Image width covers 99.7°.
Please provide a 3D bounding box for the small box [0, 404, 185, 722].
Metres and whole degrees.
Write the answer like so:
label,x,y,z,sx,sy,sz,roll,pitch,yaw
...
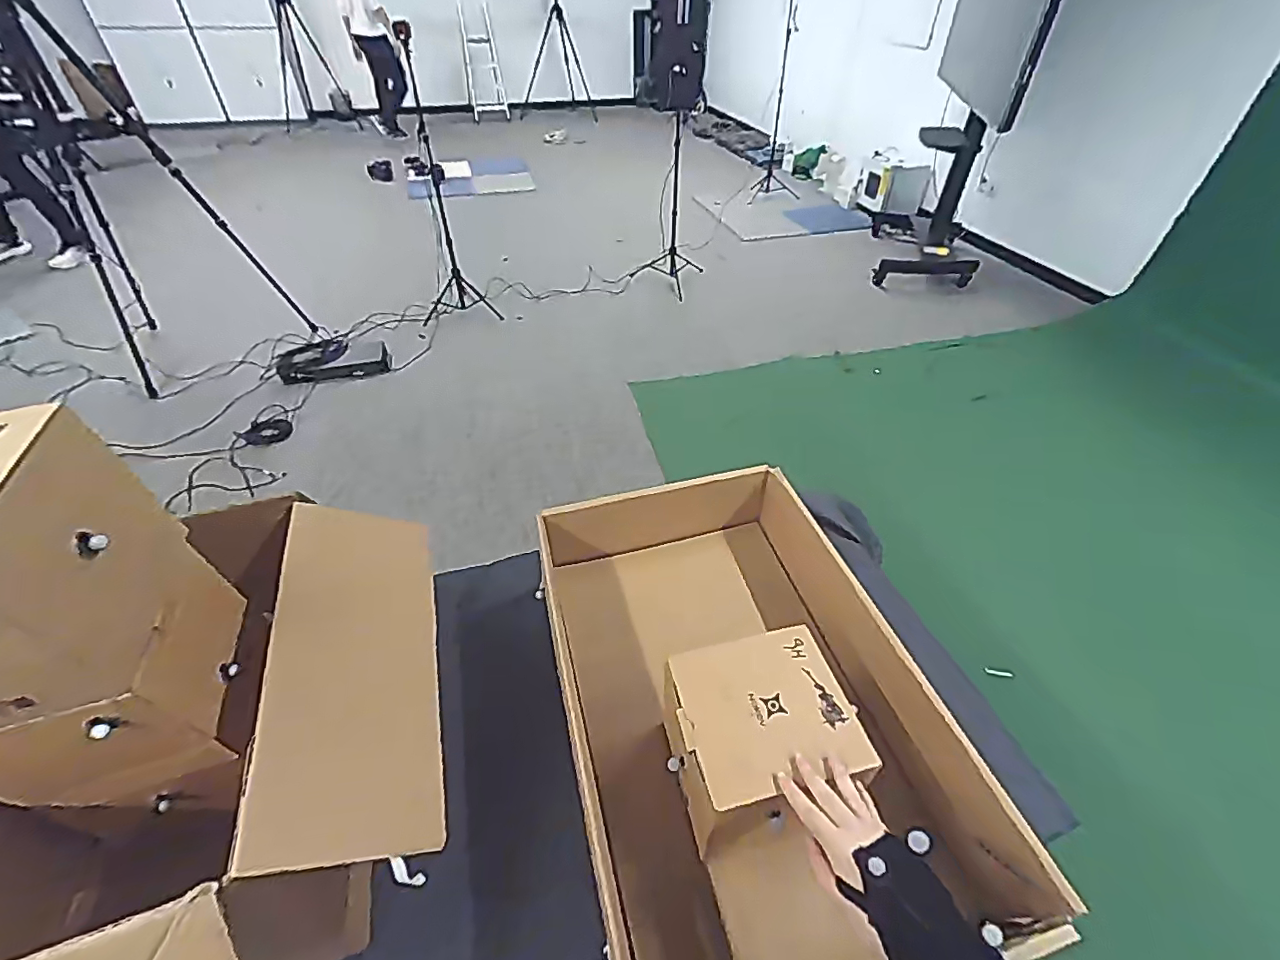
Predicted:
label,x,y,z,sx,sy,sz,roll,pitch,yaw
small box,-0.507,0.070,0.419,0.168,0.176,0.179,-12,49,-11
